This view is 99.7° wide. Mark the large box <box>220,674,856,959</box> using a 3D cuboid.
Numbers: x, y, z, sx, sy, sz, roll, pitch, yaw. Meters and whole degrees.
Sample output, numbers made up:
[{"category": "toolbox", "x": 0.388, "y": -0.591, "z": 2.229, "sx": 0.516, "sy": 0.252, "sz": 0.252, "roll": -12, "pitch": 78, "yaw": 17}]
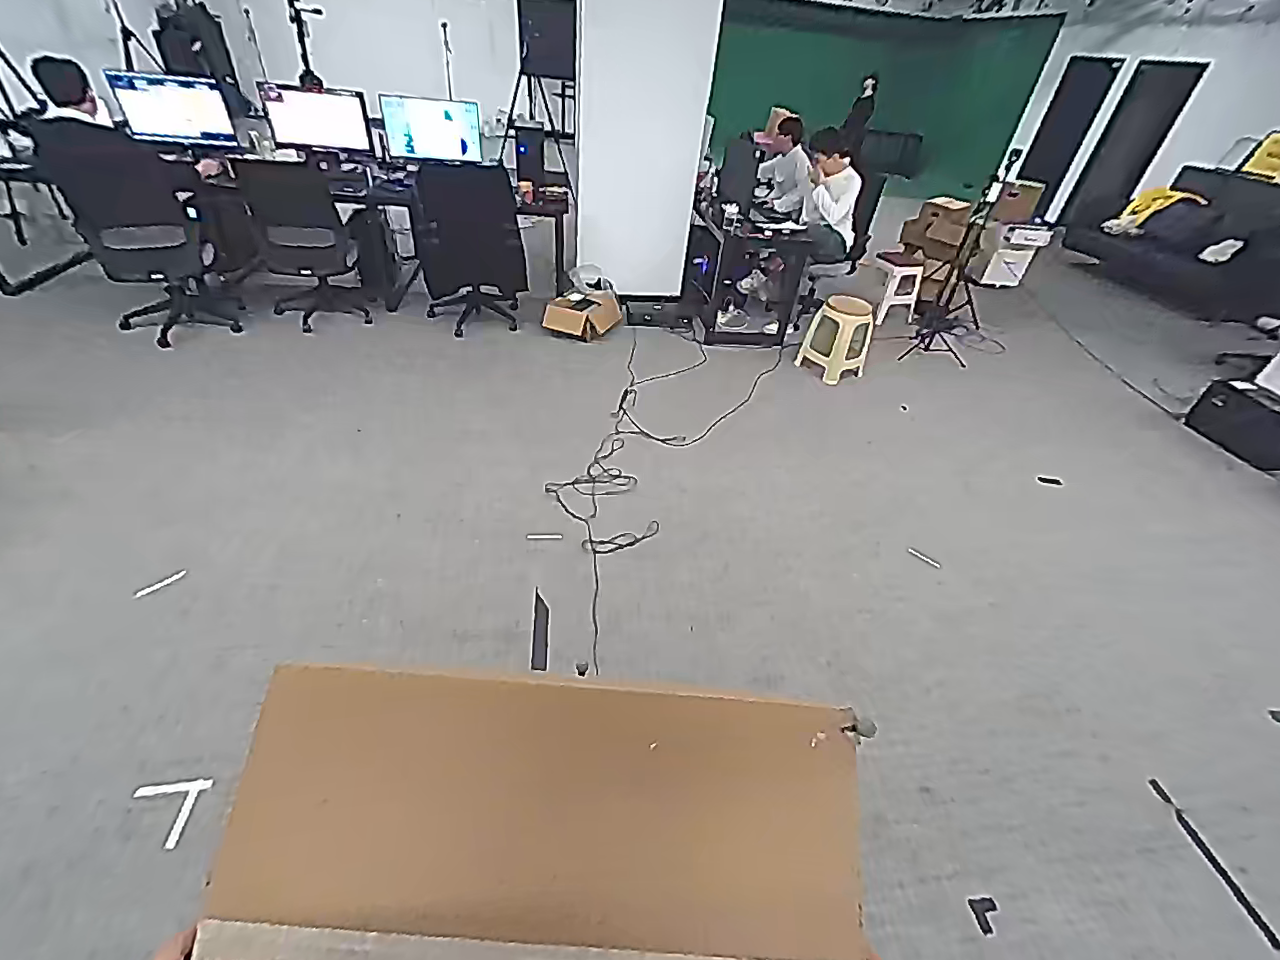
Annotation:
[{"category": "large box", "x": -0.068, "y": 0.346, "z": 0.480, "sx": 0.408, "sy": 0.320, "sz": 0.320, "roll": 5, "pitch": 72, "yaw": -2}]
